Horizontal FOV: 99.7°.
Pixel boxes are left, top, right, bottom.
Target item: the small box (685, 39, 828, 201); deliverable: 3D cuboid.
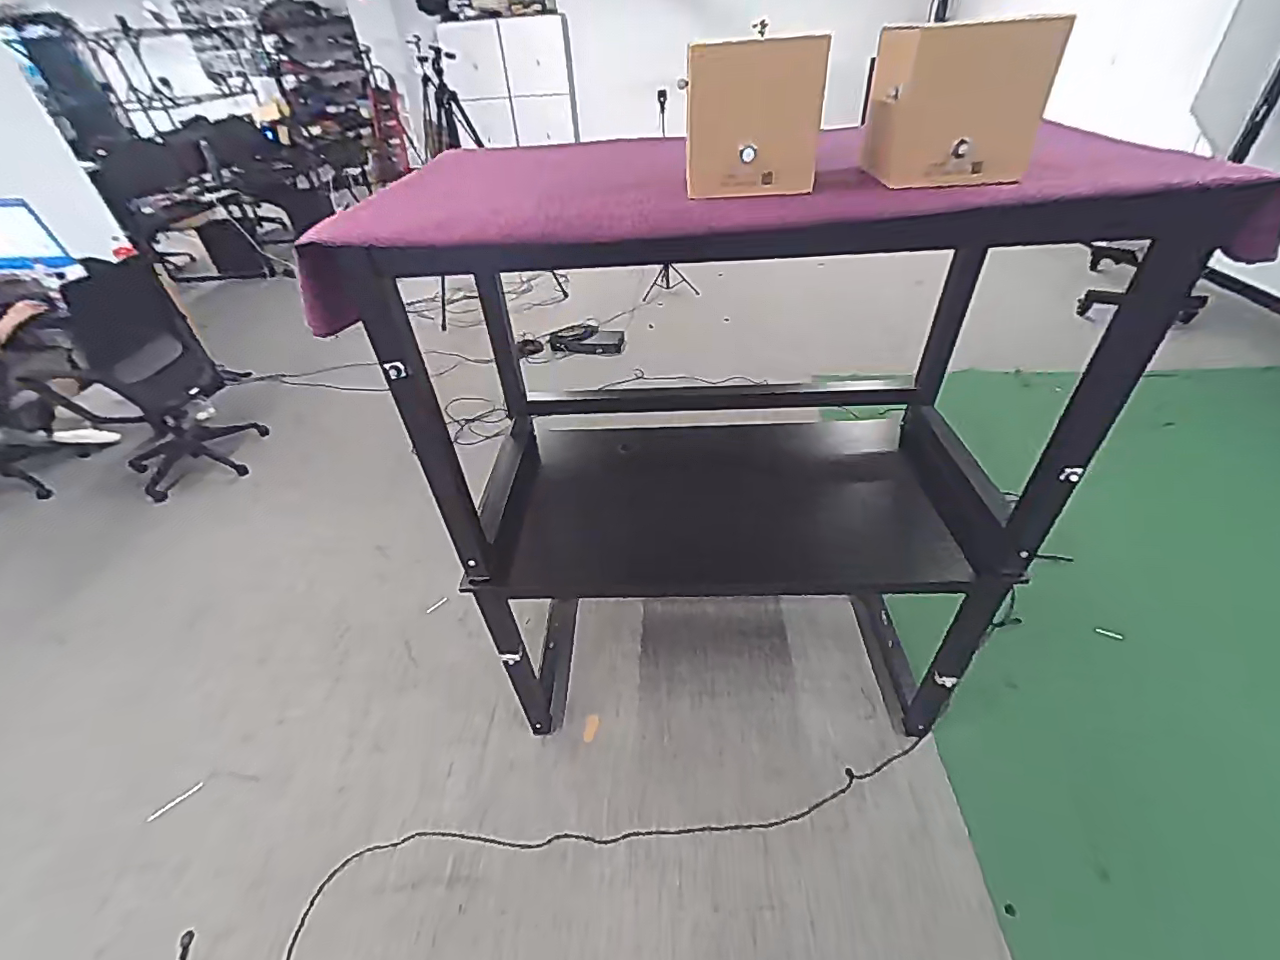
[{"bbox_3d":[0.145,-0.493,0.743,0.168,0.176,0.179,-1,39,4],"label":"small box"}]
